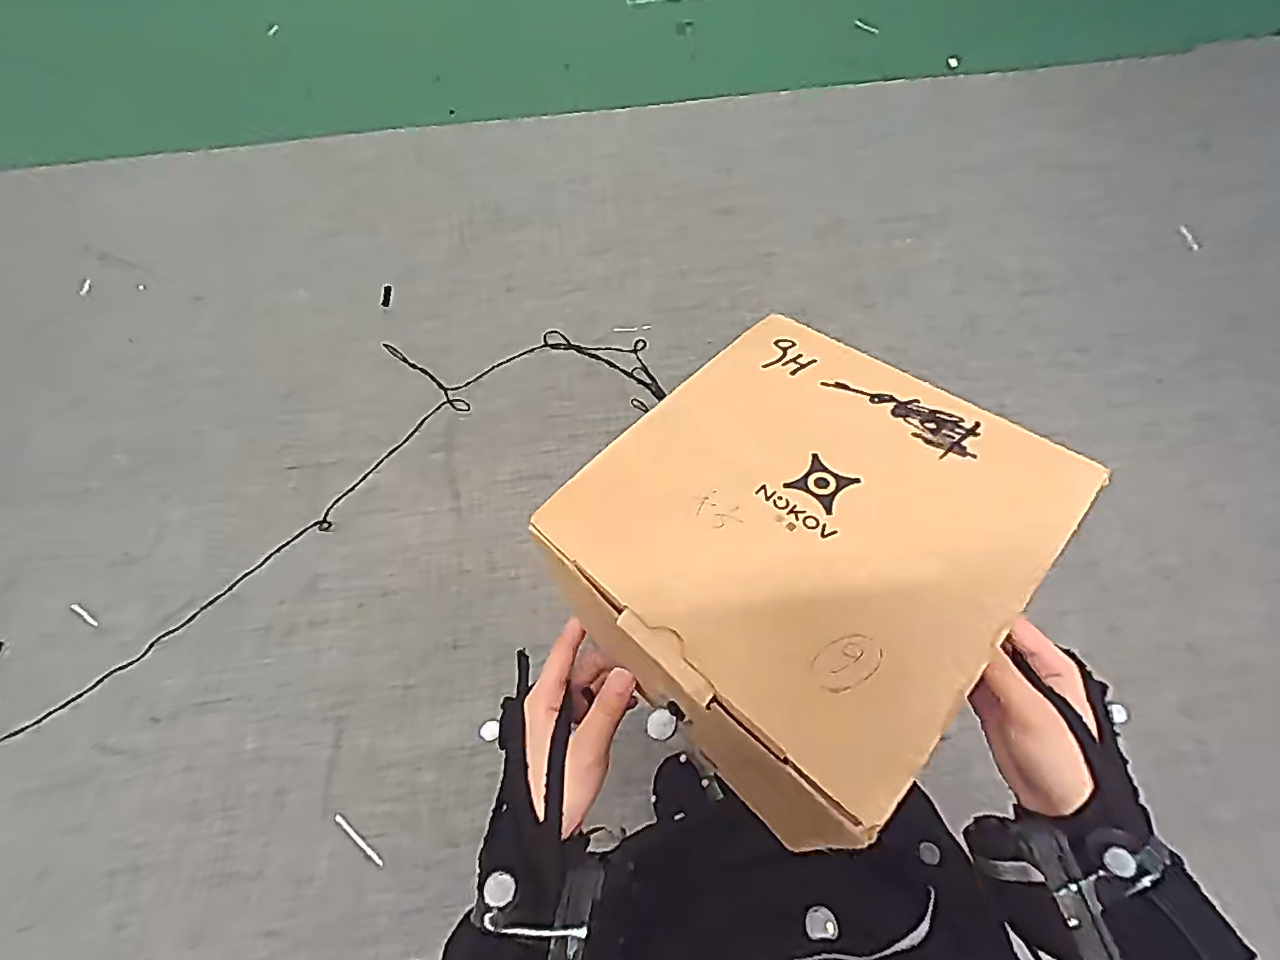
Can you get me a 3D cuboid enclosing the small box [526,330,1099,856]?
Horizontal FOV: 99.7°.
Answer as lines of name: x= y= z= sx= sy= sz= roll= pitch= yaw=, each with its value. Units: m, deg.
small box: x=0.075 y=0.061 z=0.287 sx=0.179 sy=0.176 sz=0.168 roll=-41 pitch=59 yaw=-20
